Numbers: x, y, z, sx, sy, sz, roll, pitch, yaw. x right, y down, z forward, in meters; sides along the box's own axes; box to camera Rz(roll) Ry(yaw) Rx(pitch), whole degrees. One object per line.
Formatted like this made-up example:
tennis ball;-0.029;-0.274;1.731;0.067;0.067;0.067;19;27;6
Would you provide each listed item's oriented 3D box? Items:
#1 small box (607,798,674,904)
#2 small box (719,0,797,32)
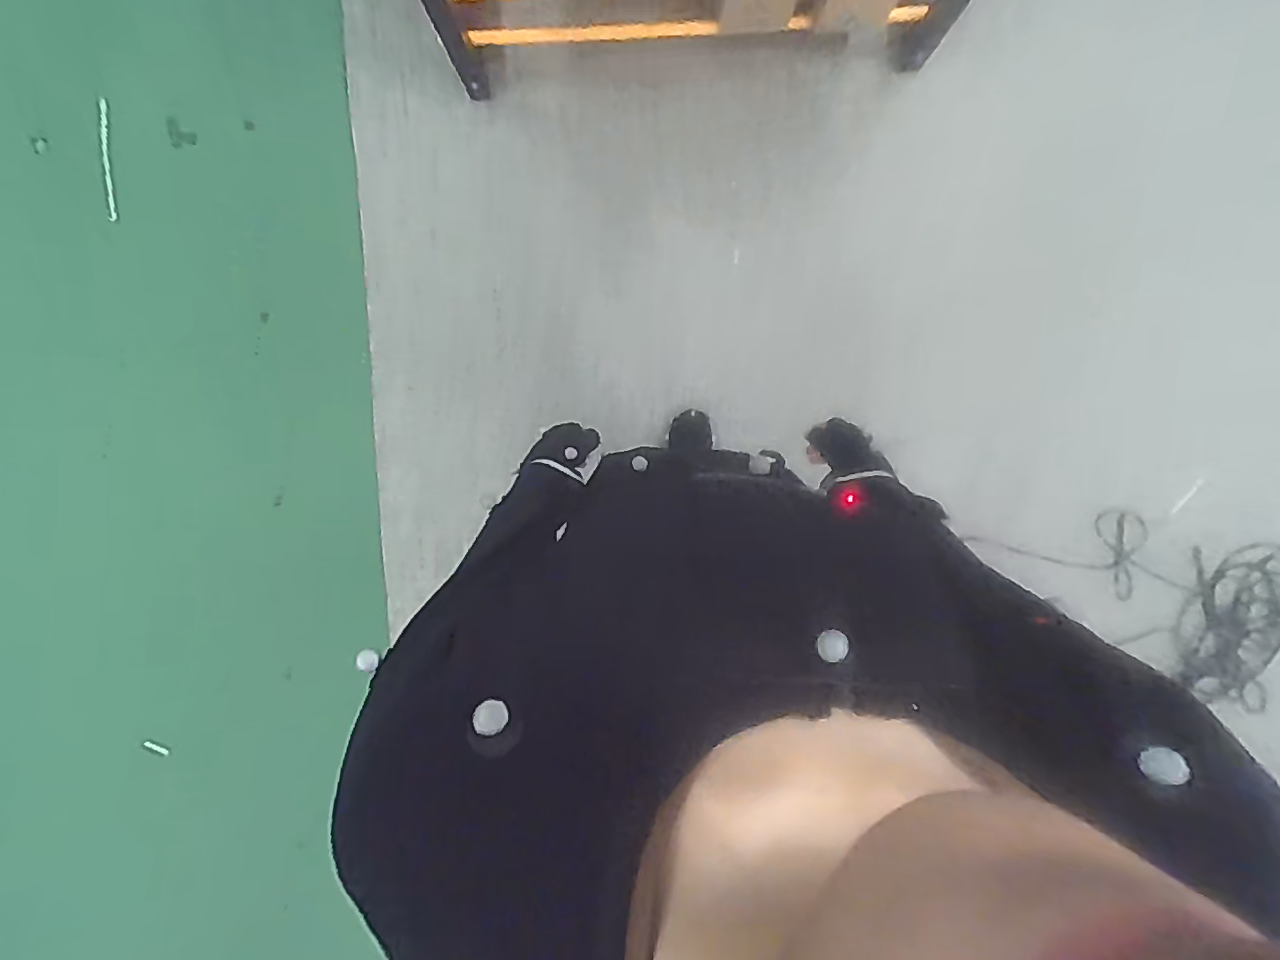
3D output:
small box;0.001;0.975;1.439;0.168;0.176;0.179;-3;93;1
small box;0.271;-1.153;1.217;0.168;0.176;0.179;-3;94;0
